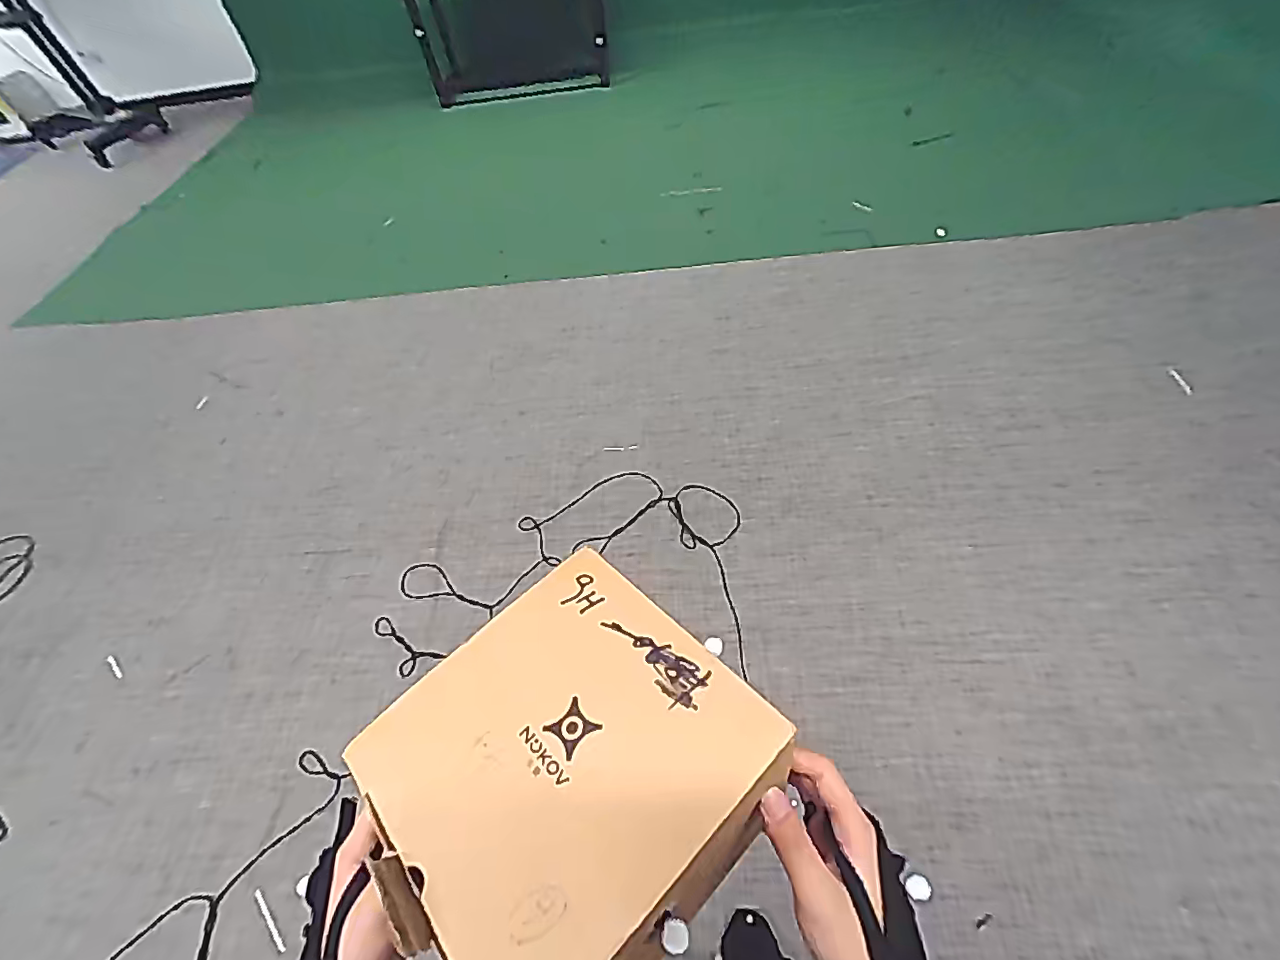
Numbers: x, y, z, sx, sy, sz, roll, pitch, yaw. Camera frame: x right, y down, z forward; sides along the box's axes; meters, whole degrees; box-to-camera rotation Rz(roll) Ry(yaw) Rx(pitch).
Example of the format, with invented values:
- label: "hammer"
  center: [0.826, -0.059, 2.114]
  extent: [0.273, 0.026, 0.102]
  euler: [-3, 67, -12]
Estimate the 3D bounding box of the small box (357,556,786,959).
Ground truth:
- label: "small box"
  center: [-0.027, 0.190, 0.339]
  extent: [0.179, 0.176, 0.168]
  euler: [-40, 54, -21]
